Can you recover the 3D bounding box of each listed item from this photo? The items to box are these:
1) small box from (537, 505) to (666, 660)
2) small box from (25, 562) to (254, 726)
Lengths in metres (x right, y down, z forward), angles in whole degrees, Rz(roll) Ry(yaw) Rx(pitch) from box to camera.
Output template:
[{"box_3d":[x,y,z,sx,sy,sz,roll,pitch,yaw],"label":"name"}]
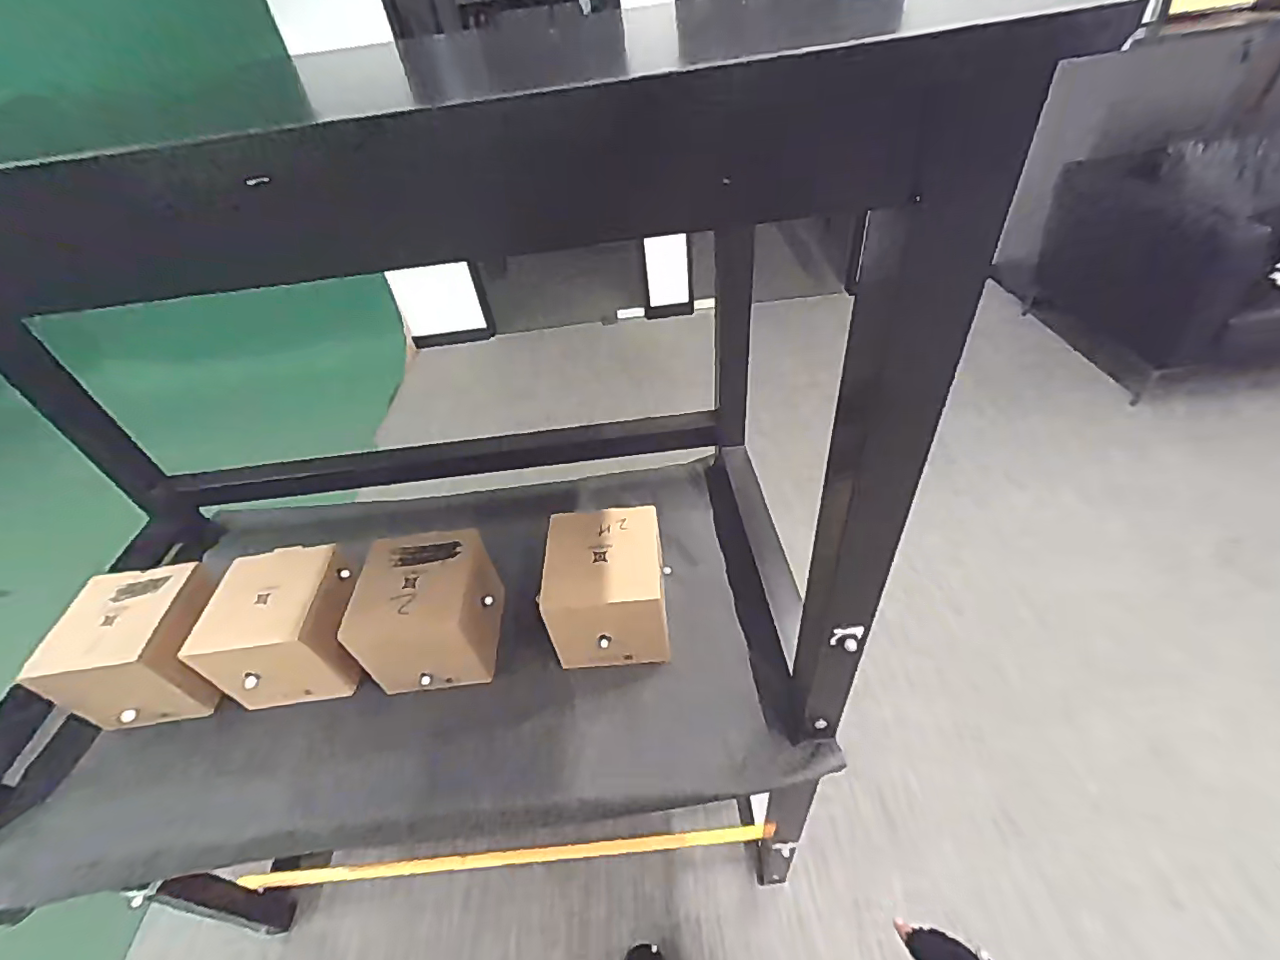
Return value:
[{"box_3d":[-0.050,0.163,0.833,0.168,0.176,0.179,-5,42,3],"label":"small box"},{"box_3d":[-0.754,0.256,0.847,0.168,0.176,0.179,-9,43,0],"label":"small box"}]
